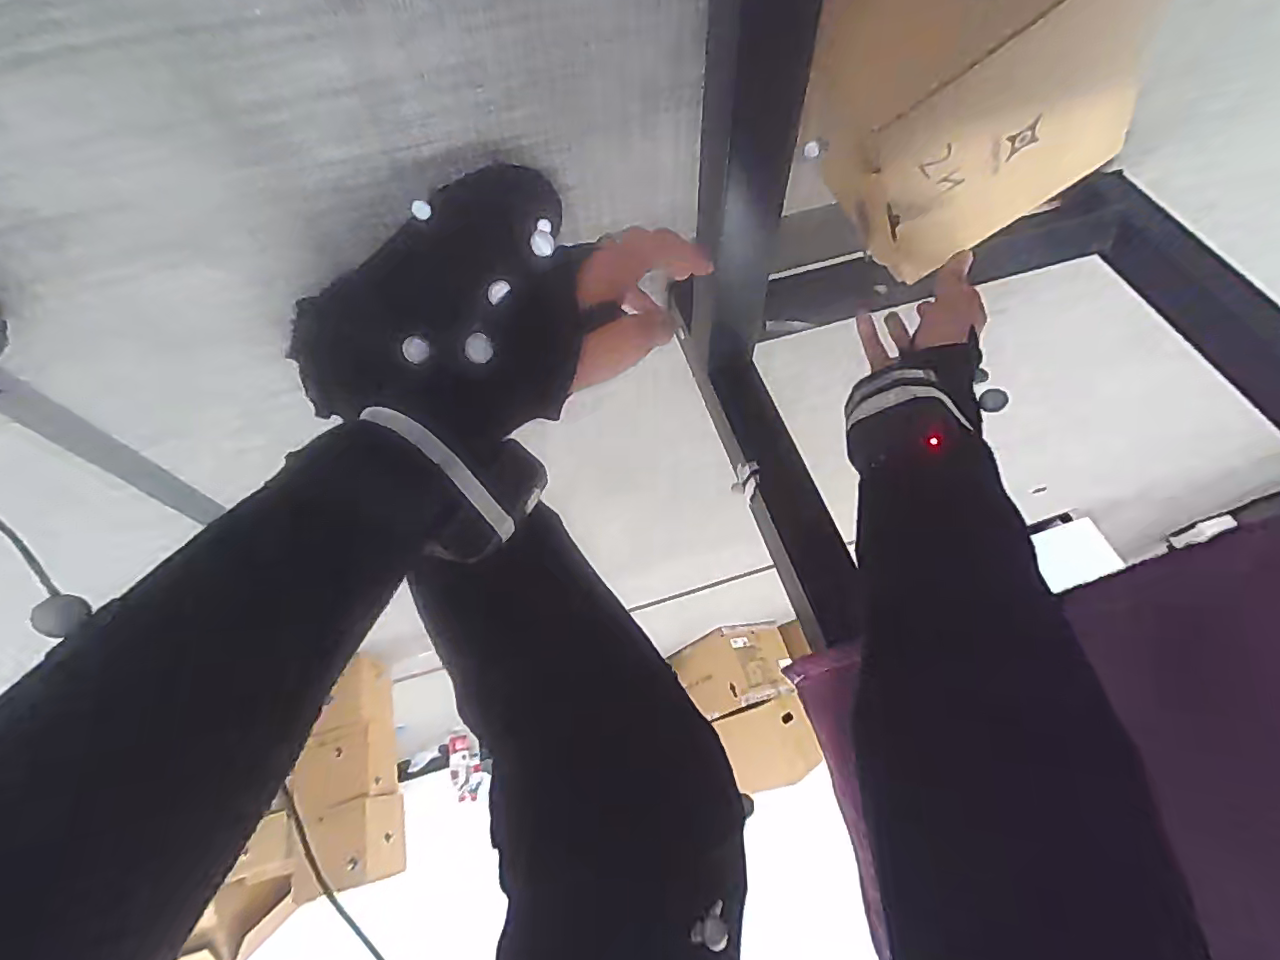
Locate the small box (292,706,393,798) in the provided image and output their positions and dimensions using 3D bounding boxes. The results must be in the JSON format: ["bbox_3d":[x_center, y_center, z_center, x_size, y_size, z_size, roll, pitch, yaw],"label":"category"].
[{"bbox_3d":[-0.729,0.673,1.344,0.168,0.176,0.179,-13,152,-7],"label":"small box"}]

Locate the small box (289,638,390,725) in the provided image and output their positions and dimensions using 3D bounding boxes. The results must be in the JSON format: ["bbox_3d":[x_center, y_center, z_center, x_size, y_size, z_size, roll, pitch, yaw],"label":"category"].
[{"bbox_3d":[-0.775,0.529,1.406,0.179,0.176,0.168,-16,153,-4],"label":"small box"}]
